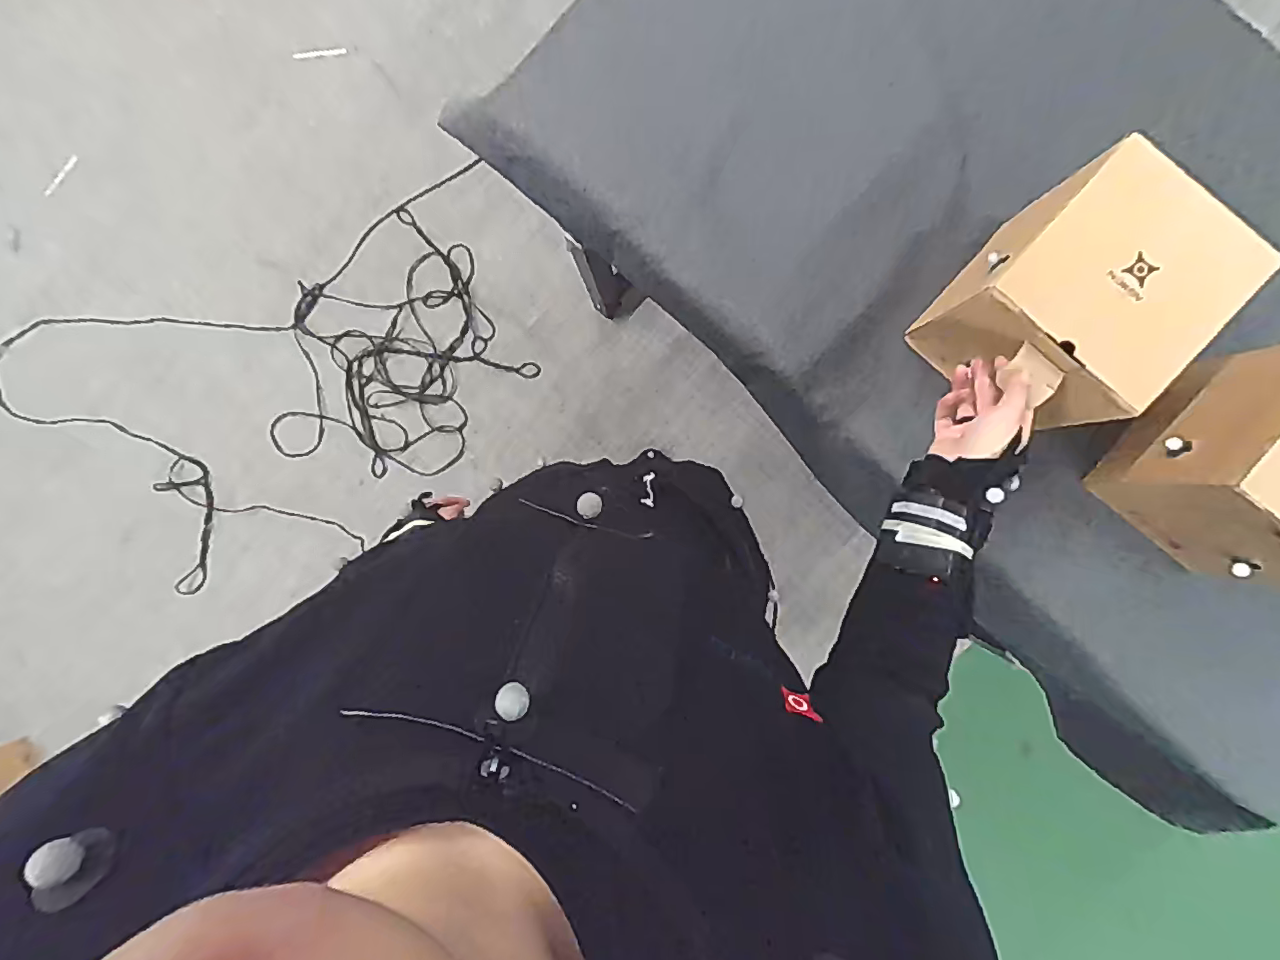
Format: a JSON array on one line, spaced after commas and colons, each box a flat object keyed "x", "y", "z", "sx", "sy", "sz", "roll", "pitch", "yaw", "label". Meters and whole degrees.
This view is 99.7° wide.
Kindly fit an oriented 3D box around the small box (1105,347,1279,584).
[{"x": 0.610, "y": -0.010, "z": 0.516, "sx": 0.168, "sy": 0.176, "sz": 0.179, "roll": 39, "pitch": 91, "yaw": 0, "label": "small box"}]

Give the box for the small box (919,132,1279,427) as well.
[{"x": 0.416, "y": -0.170, "z": 0.522, "sx": 0.168, "sy": 0.176, "sz": 0.179, "roll": 41, "pitch": 92, "yaw": 1, "label": "small box"}]
